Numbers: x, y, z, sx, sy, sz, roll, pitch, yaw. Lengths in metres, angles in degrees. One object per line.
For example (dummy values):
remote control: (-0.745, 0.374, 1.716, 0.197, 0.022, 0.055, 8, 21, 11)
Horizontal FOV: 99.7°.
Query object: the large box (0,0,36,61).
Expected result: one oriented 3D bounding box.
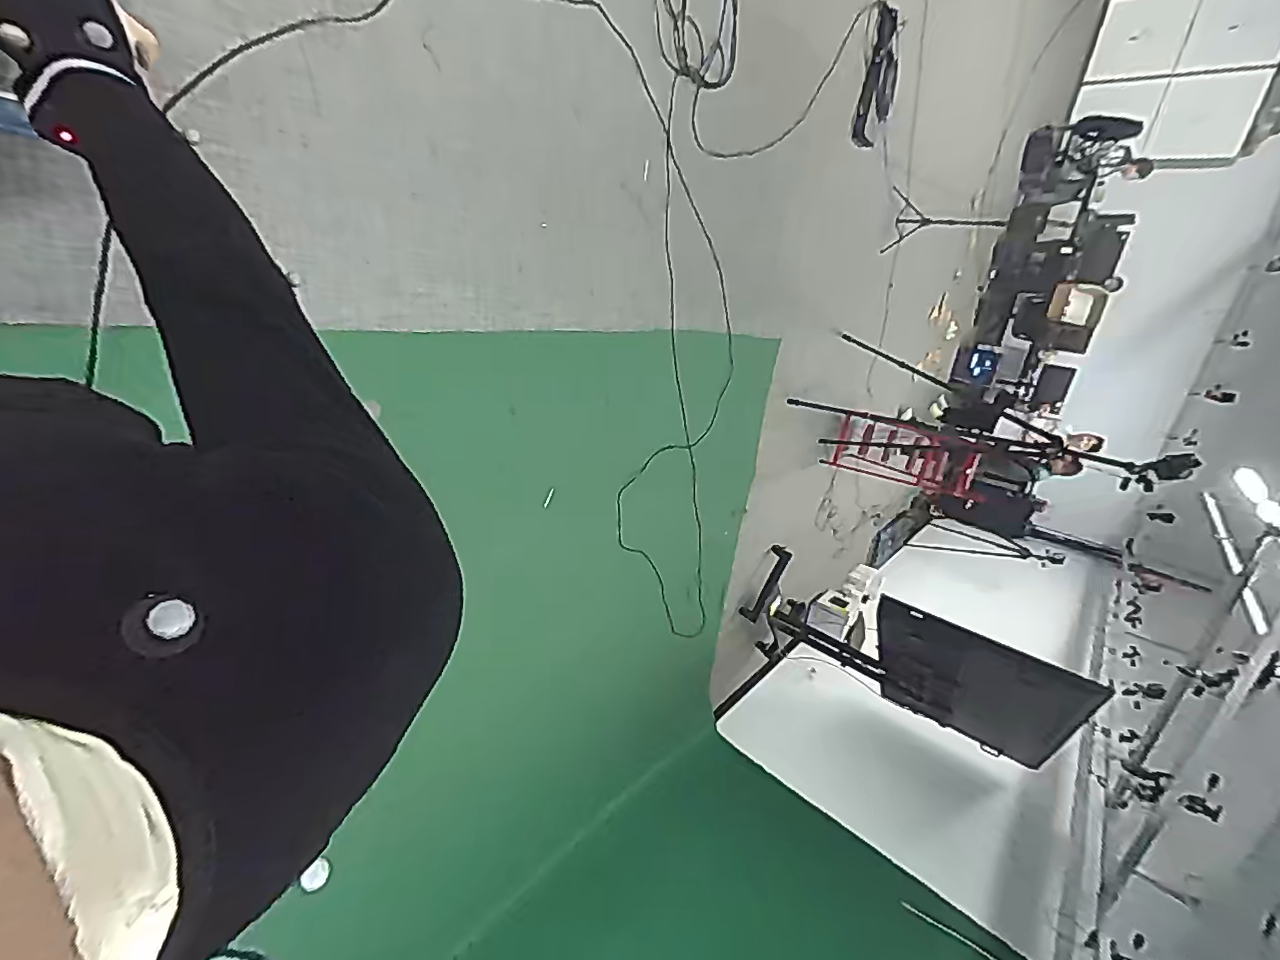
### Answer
large box: (-0.922, -0.767, 0.579, 0.320, 0.320, 0.408, -11, 116, -49)
